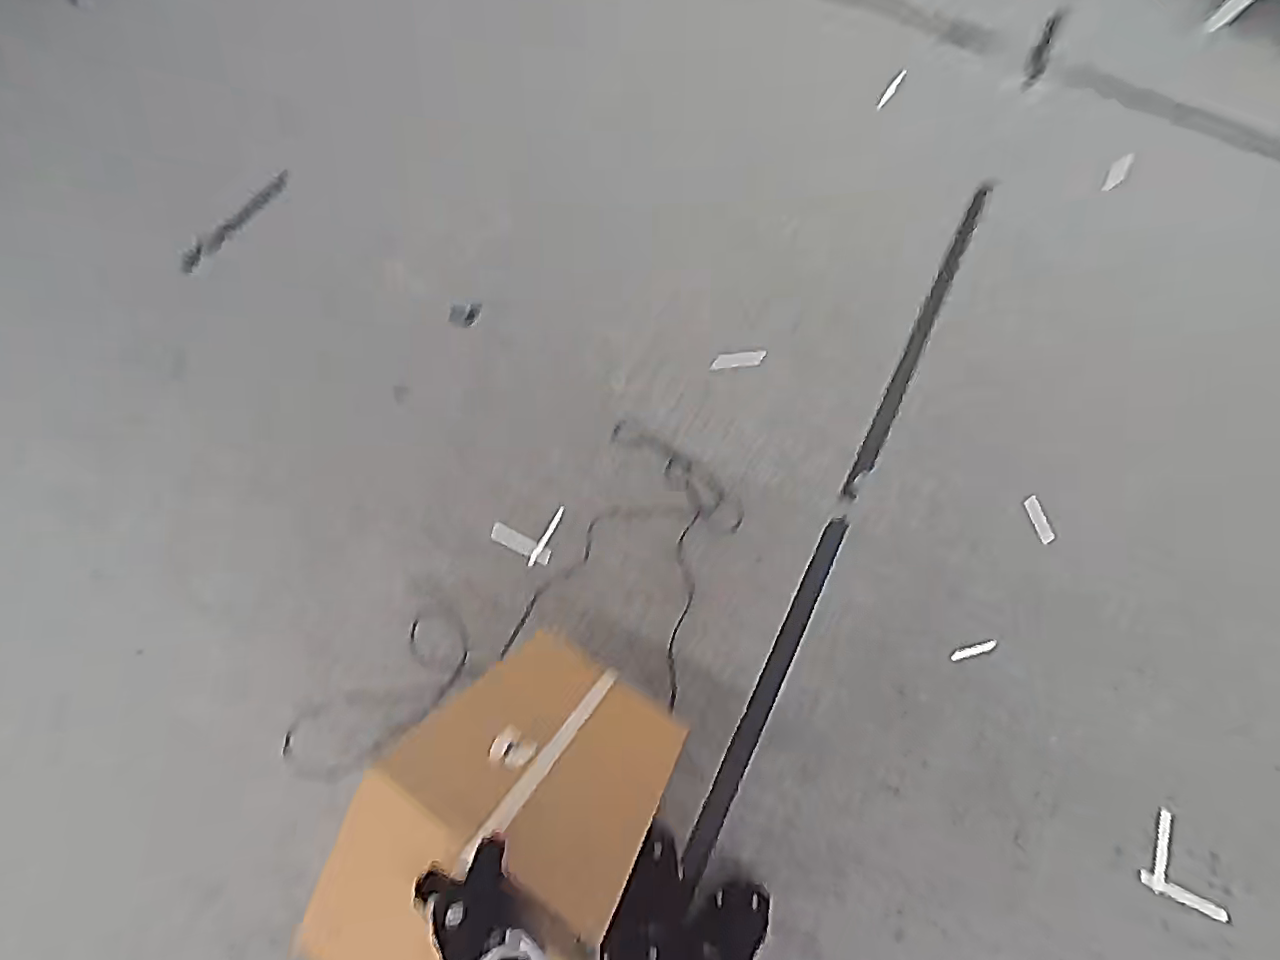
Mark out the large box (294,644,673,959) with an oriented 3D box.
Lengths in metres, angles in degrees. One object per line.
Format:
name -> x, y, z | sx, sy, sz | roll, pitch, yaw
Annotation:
large box -> -0.192, 0.523, 0.799 | 0.320, 0.408, 0.320 | 28, 105, 13
